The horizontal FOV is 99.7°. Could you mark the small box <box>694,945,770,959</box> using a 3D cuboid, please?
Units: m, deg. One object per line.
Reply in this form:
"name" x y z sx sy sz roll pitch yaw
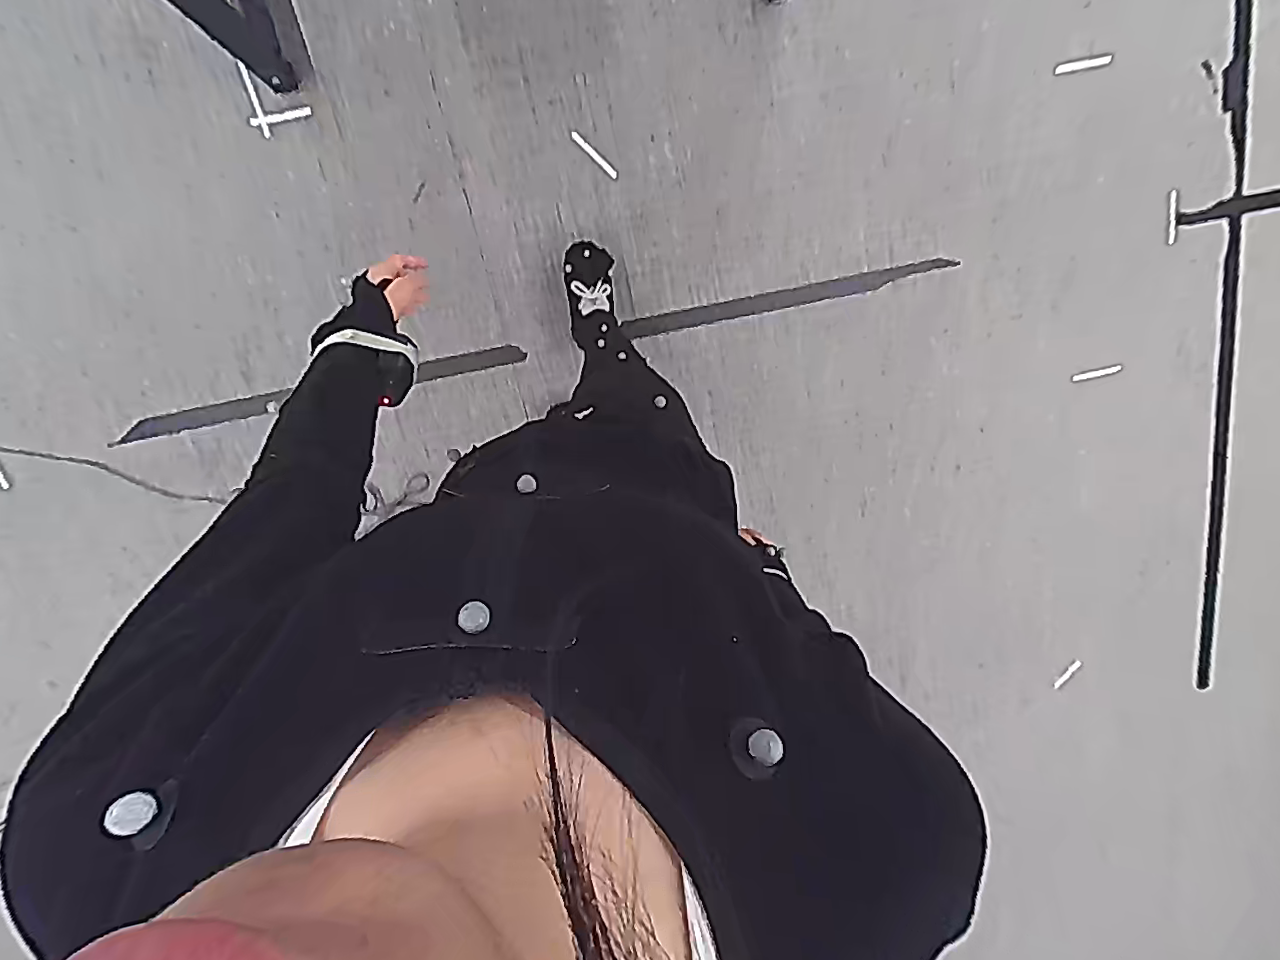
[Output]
"small box" 0.208 1.097 1.101 0.168 0.176 0.179 -9 105 -5
